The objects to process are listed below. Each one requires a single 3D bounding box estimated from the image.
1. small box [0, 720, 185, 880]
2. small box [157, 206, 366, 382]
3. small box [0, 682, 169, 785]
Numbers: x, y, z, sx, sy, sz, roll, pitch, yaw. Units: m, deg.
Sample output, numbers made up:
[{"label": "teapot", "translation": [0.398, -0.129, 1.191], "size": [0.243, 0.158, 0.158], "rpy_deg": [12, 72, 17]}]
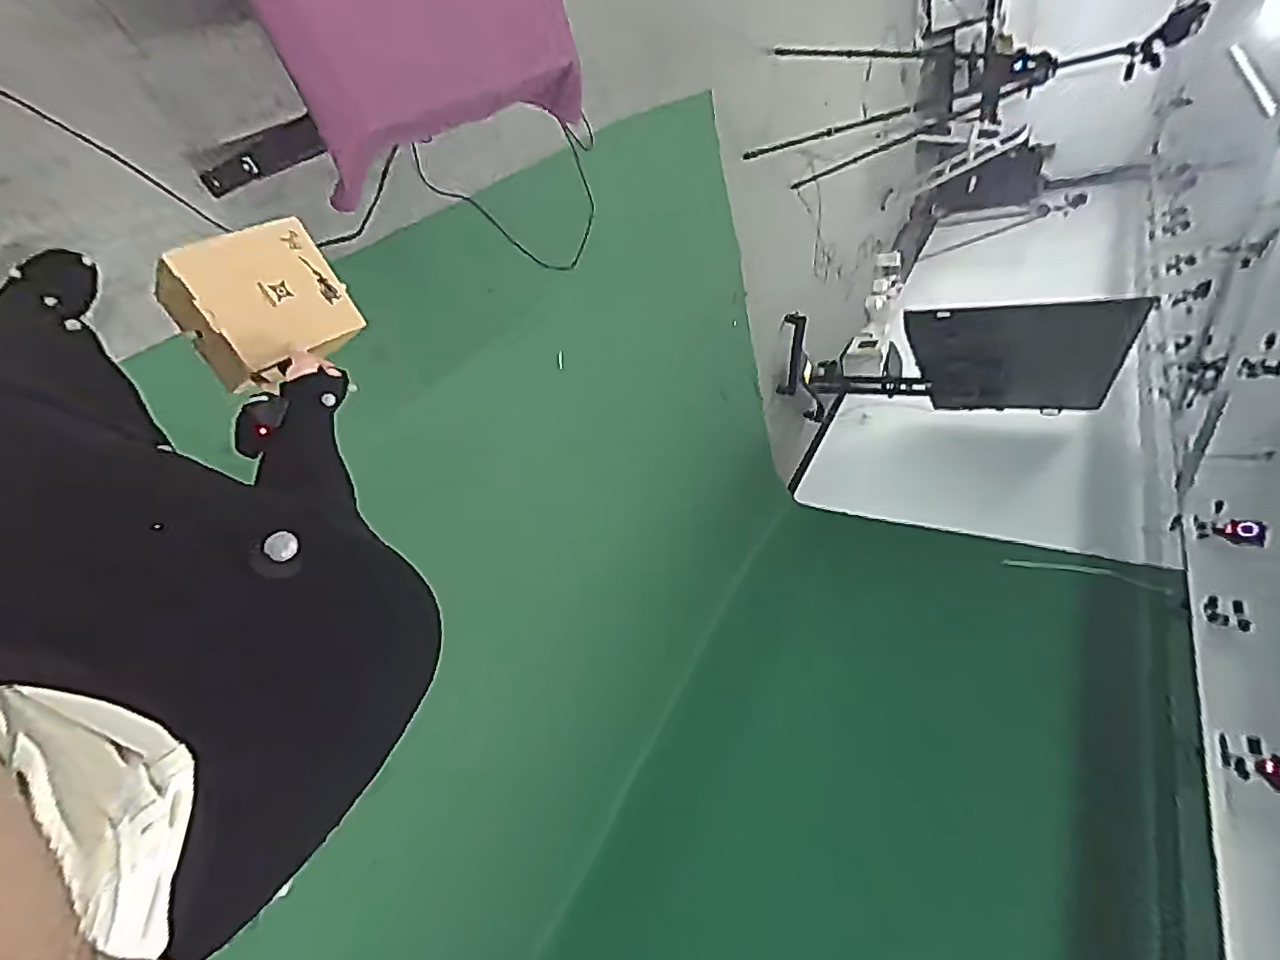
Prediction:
[{"label": "small box", "translation": [-0.970, 0.554, 0.951], "size": [0.168, 0.176, 0.179], "rpy_deg": [-56, 135, -29]}, {"label": "small box", "translation": [-0.541, -0.259, 0.779], "size": [0.179, 0.176, 0.168], "rpy_deg": [-44, 117, -35]}, {"label": "small box", "translation": [-1.092, 0.522, 1.056], "size": [0.168, 0.176, 0.179], "rpy_deg": [-51, 135, -33]}]
